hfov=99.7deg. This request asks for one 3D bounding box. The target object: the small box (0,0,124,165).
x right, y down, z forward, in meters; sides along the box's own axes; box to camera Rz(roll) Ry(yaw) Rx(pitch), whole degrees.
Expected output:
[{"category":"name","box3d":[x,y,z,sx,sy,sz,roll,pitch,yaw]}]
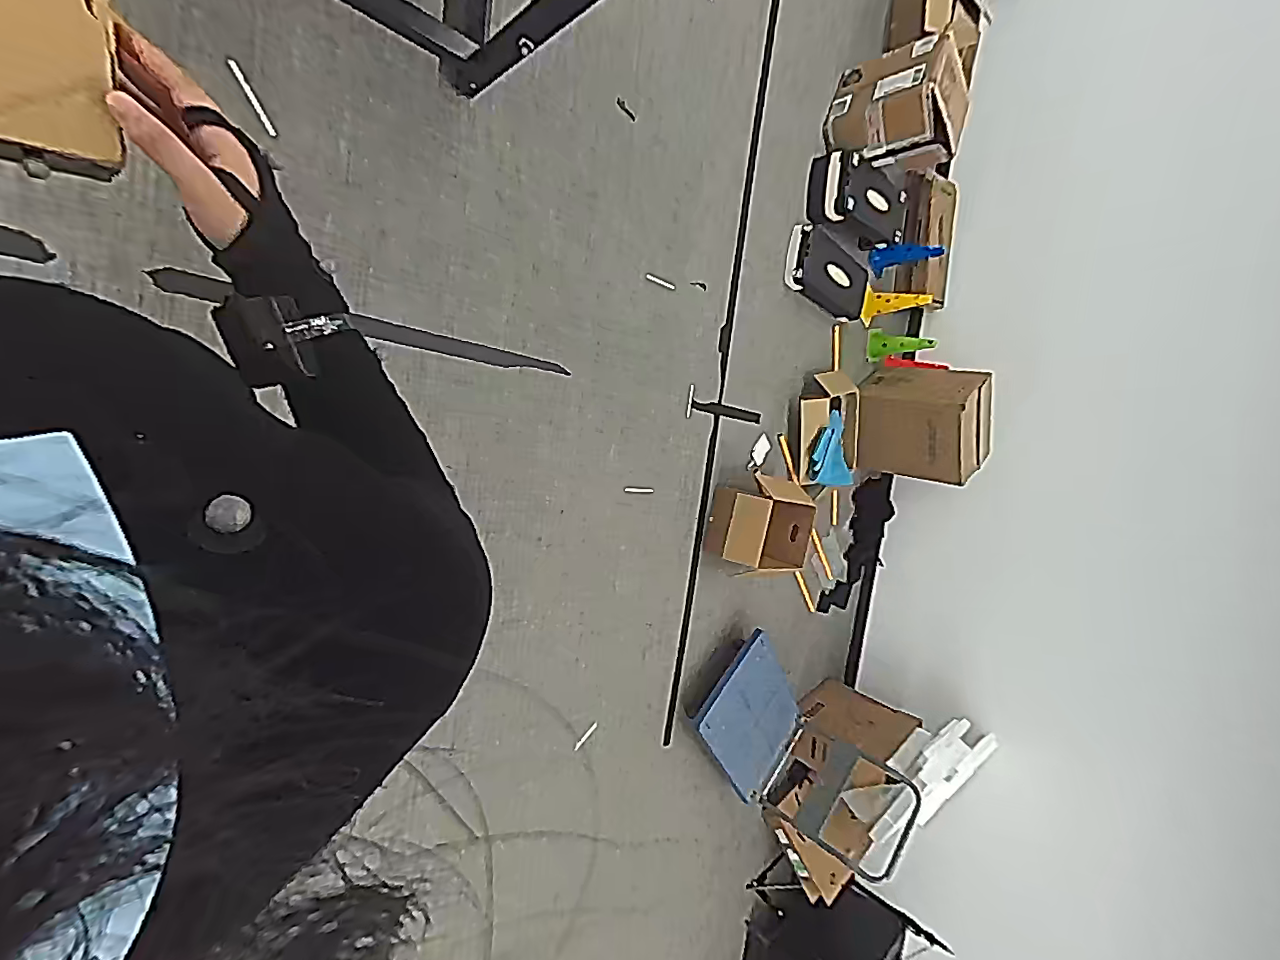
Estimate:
[{"category":"small box","box3d":[-0.419,-0.291,0.300,0.179,0.176,0.168,-8,114,-46]}]
